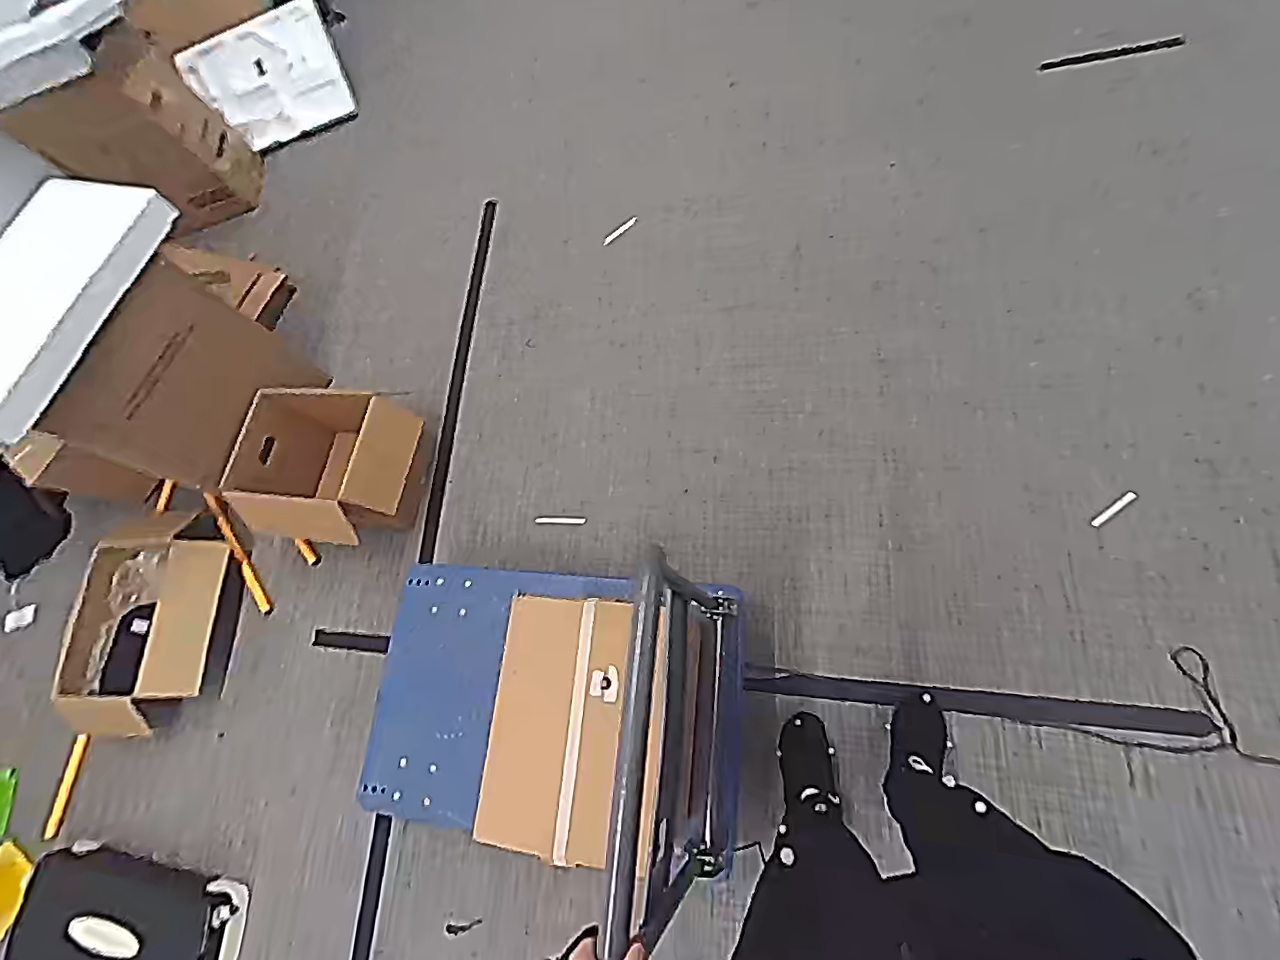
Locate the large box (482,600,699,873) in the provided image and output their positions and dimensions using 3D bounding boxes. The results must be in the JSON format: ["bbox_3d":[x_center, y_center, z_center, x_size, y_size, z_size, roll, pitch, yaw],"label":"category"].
[{"bbox_3d":[-0.065,0.463,1.056,0.320,0.320,0.408,1,71,14],"label":"large box"}]
